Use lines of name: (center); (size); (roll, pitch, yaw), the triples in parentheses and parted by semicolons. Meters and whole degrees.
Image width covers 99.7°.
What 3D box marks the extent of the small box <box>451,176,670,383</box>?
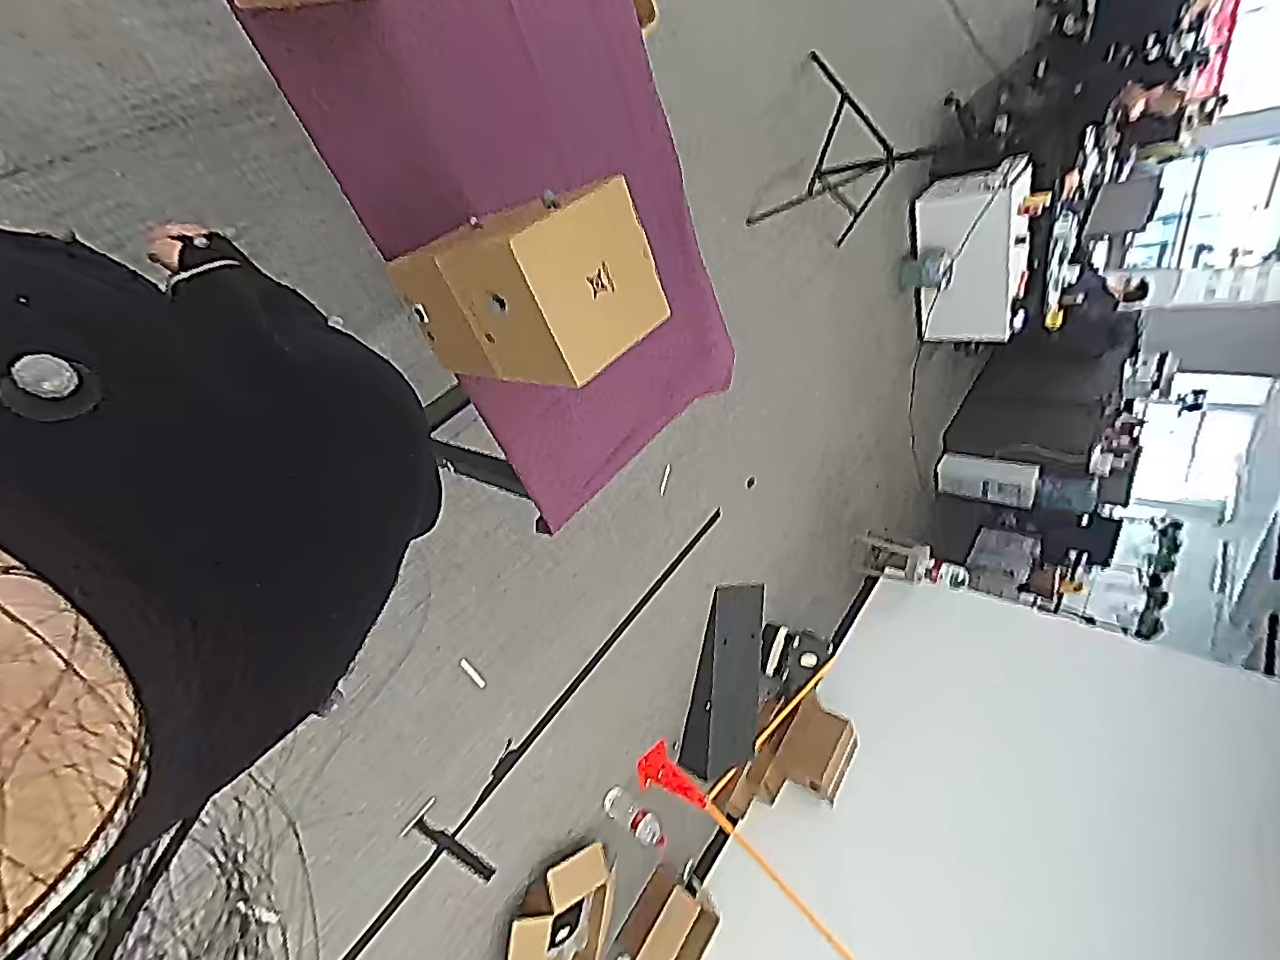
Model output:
small box: (-0.099, -0.232, 0.650); (0.179, 0.176, 0.168); (-46, 129, -28)

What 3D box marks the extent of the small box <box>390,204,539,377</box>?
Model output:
small box: (-0.212, -0.264, 0.763); (0.179, 0.176, 0.168); (-44, 128, -28)
